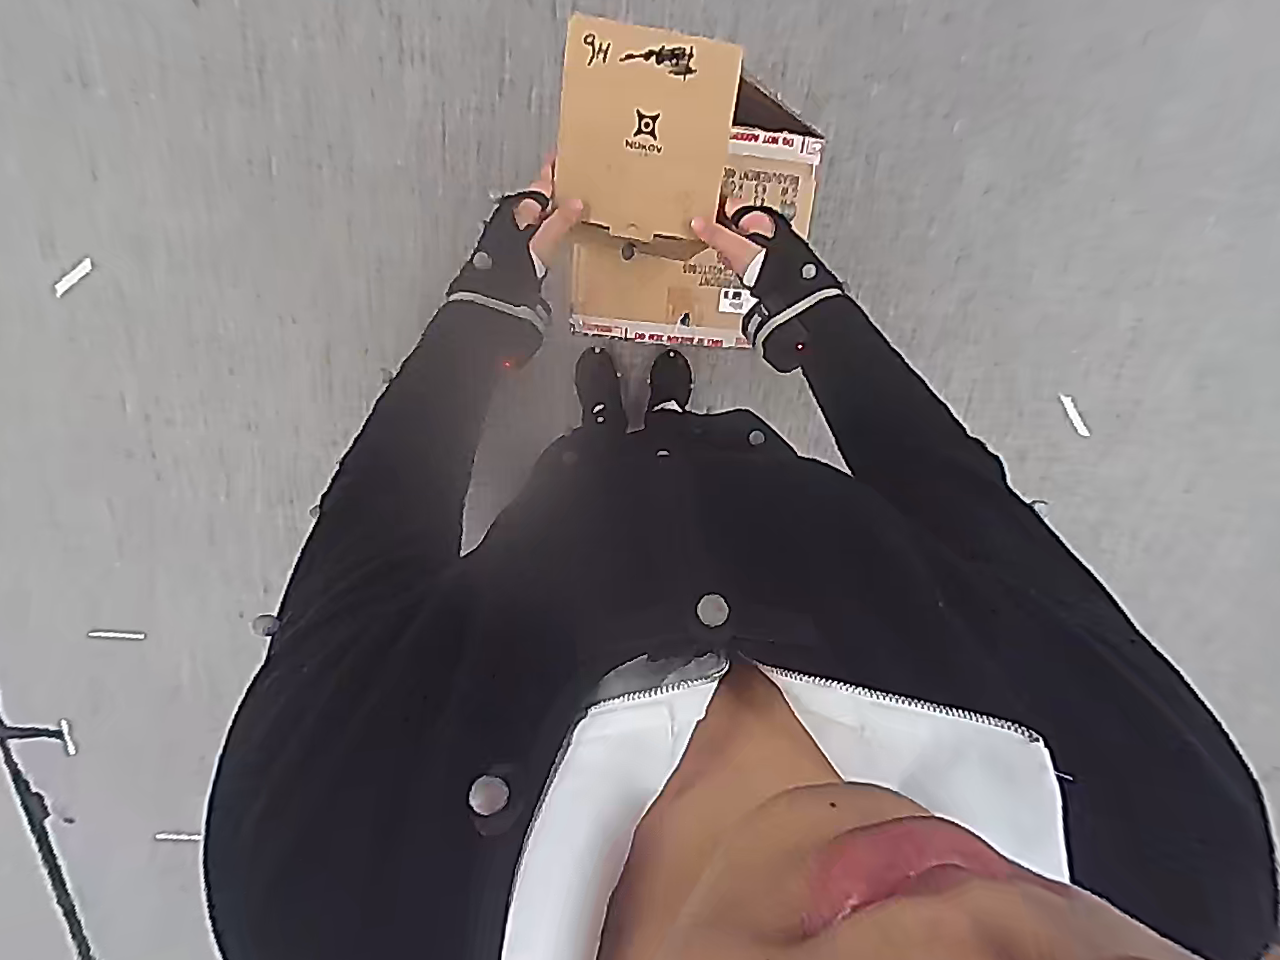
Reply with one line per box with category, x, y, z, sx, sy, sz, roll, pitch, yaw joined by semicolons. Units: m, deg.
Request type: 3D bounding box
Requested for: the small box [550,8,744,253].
small box;0.002;-0.356;0.591;0.168;0.176;0.179;7;107;-5
